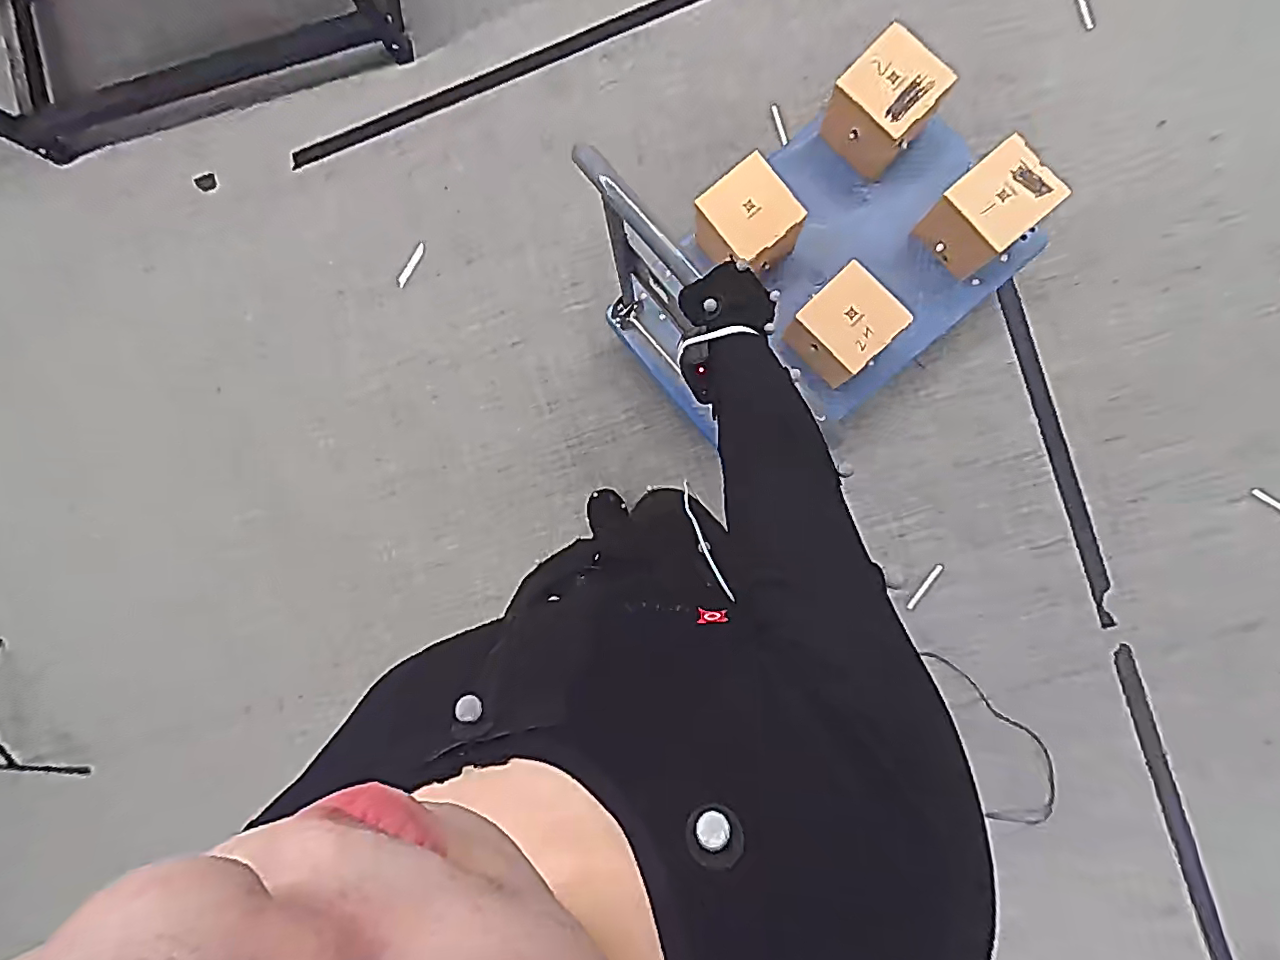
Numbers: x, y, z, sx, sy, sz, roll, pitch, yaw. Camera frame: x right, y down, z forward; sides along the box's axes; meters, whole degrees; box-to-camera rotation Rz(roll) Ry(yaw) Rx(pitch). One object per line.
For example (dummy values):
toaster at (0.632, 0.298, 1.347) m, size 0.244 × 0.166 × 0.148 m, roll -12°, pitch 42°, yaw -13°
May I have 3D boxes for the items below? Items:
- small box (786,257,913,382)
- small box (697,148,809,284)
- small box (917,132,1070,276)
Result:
small box at (0.441, -0.337, 1.175) m, size 0.168 × 0.176 × 0.179 m, roll -43°, pitch 86°, yaw 5°
small box at (0.238, -0.570, 1.194) m, size 0.168 × 0.176 × 0.179 m, roll -38°, pitch 88°, yaw 5°
small box at (0.732, -0.570, 1.143) m, size 0.179 × 0.176 × 0.168 m, roll -40°, pitch 87°, yaw 6°
